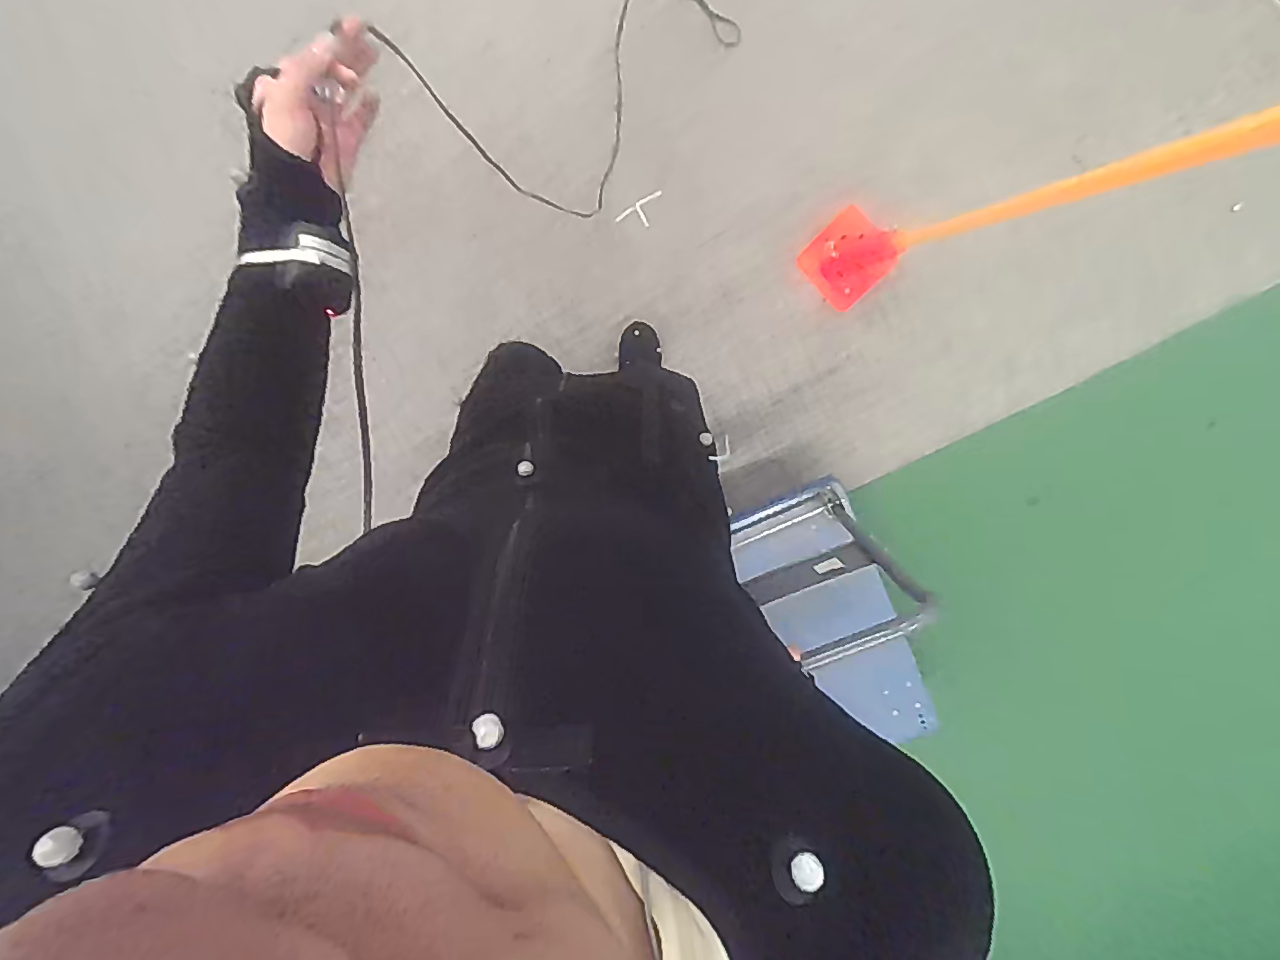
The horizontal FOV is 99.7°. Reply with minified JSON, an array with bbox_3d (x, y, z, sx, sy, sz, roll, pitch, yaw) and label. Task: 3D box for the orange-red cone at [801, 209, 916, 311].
[{"bbox_3d":[0.545,-0.527,1.255,0.199,0.360,0.198,-43,101,12],"label":"orange-red cone"}]
